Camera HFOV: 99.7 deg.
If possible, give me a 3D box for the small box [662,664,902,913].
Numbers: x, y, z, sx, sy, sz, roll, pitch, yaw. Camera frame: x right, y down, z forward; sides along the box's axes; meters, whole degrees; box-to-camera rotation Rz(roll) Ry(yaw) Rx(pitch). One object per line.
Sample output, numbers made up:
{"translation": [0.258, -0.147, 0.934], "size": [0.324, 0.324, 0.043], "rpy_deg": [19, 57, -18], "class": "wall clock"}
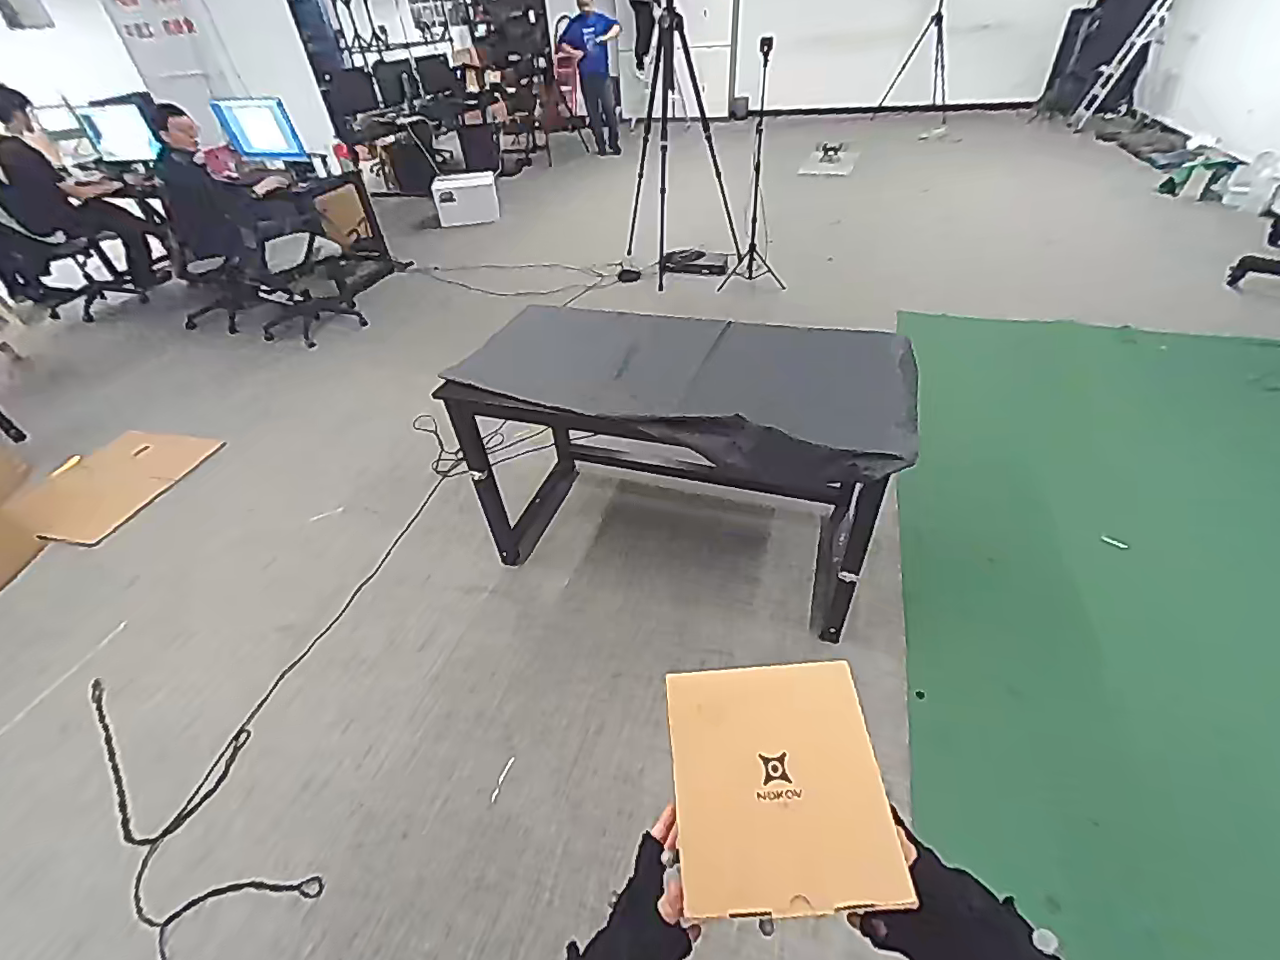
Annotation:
{"translation": [0.108, 0.289, 0.505], "size": [0.168, 0.176, 0.179], "rpy_deg": [-4, 53, 0], "class": "small box"}
